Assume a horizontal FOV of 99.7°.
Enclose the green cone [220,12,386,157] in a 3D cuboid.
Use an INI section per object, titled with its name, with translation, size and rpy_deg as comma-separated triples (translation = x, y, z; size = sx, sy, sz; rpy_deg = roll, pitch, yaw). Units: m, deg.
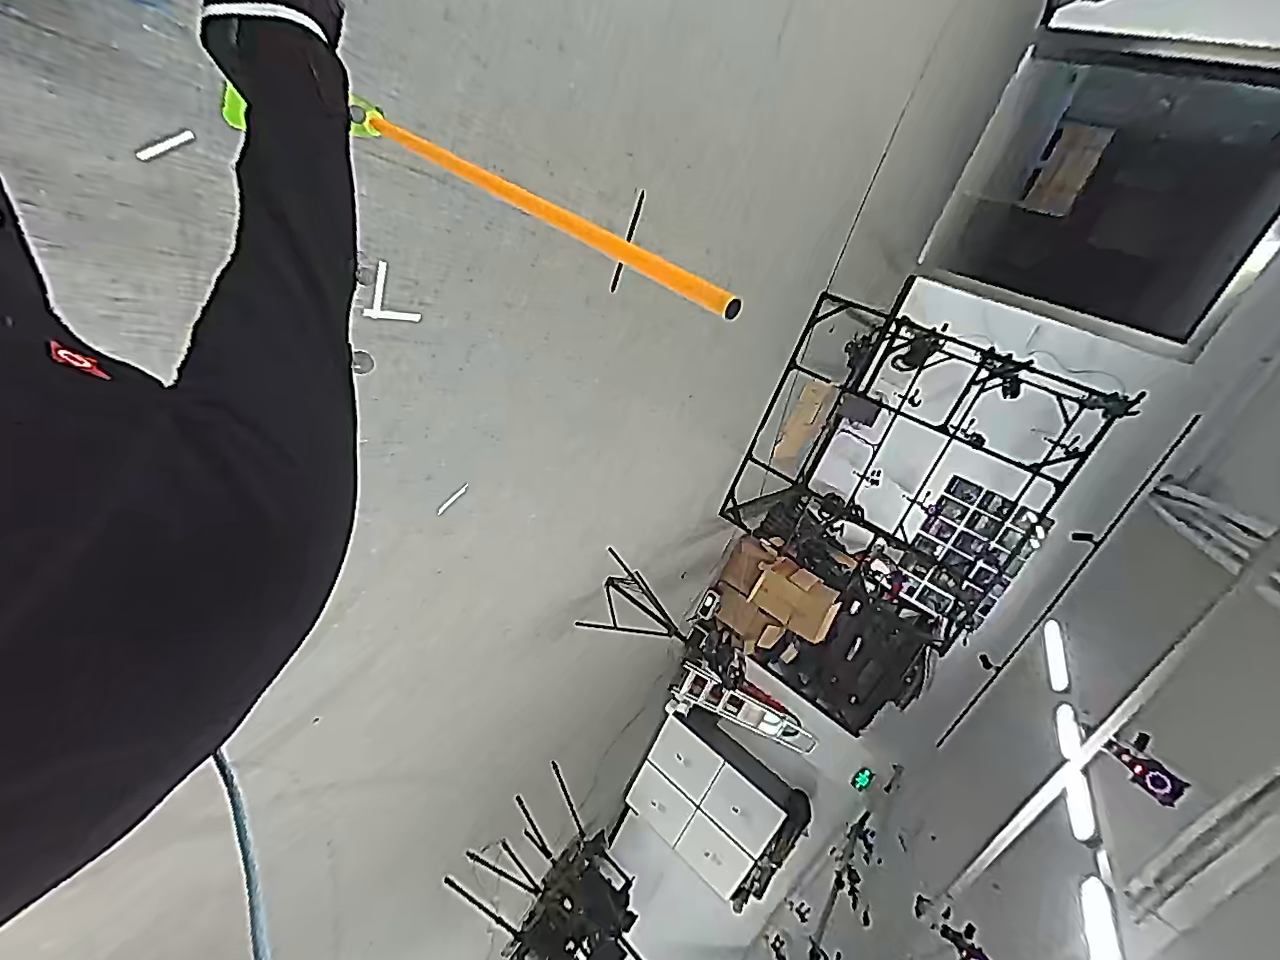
[green cone]
translation = -0.623, -0.733, 1.059
size = 0.202, 0.368, 0.200
rpy_deg = -7, 125, -59
